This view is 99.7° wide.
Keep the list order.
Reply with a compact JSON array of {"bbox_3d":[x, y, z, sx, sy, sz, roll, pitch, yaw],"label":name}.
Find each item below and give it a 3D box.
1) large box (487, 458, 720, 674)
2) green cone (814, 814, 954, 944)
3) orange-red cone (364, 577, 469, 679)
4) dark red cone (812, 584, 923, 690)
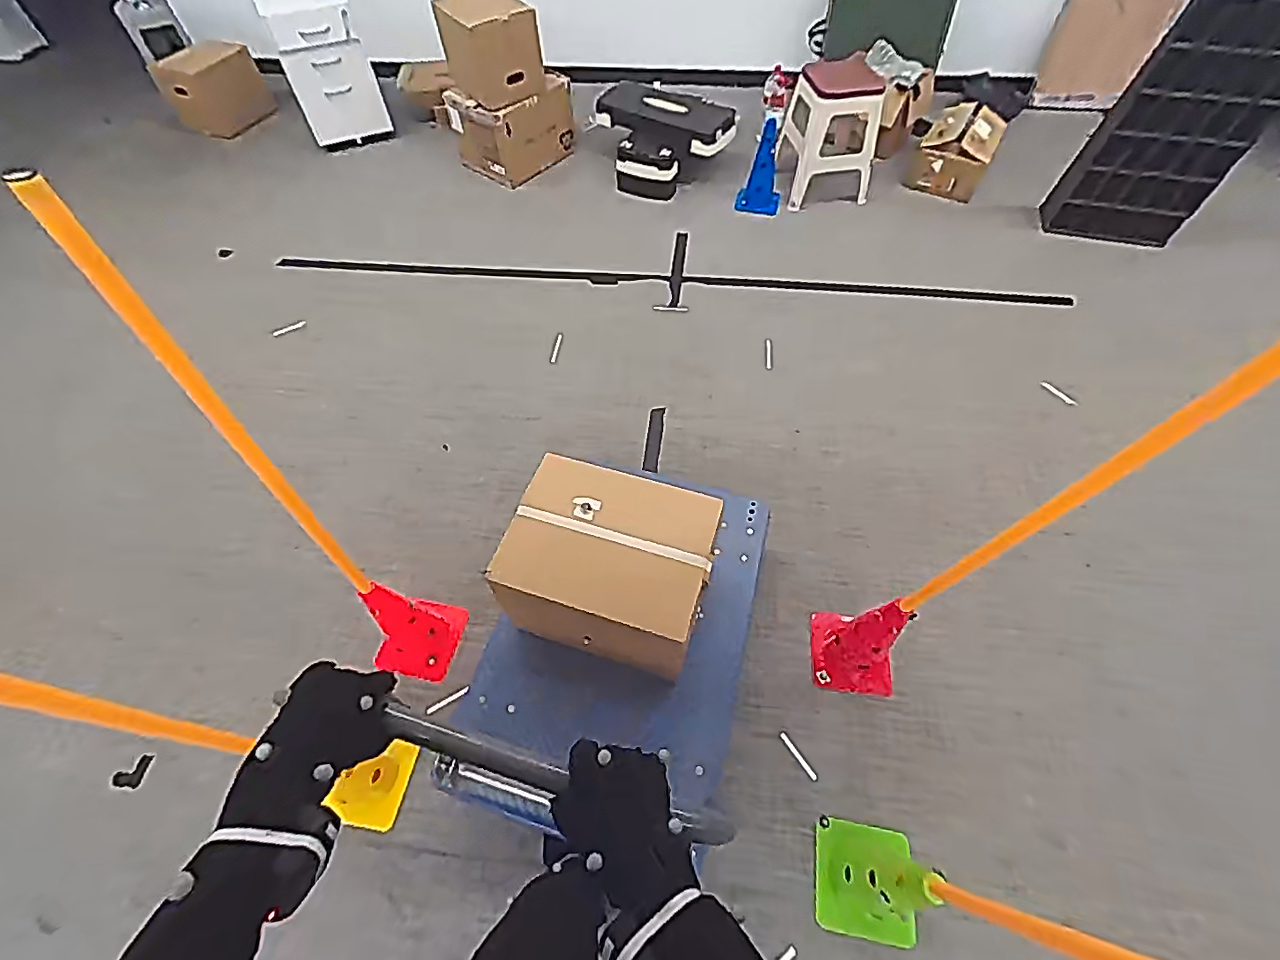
[{"bbox_3d":[-0.059,0.199,1.211,0.408,0.320,0.320,15,59,11],"label":"large box"},{"bbox_3d":[0.474,0.749,1.008,0.202,0.368,0.200,9,57,6],"label":"green cone"},{"bbox_3d":[-0.582,0.323,1.314,0.198,0.360,0.199,12,56,8],"label":"orange-red cone"},{"bbox_3d":[0.551,0.340,1.257,0.201,0.394,0.202,6,57,3],"label":"dark red cone"}]
